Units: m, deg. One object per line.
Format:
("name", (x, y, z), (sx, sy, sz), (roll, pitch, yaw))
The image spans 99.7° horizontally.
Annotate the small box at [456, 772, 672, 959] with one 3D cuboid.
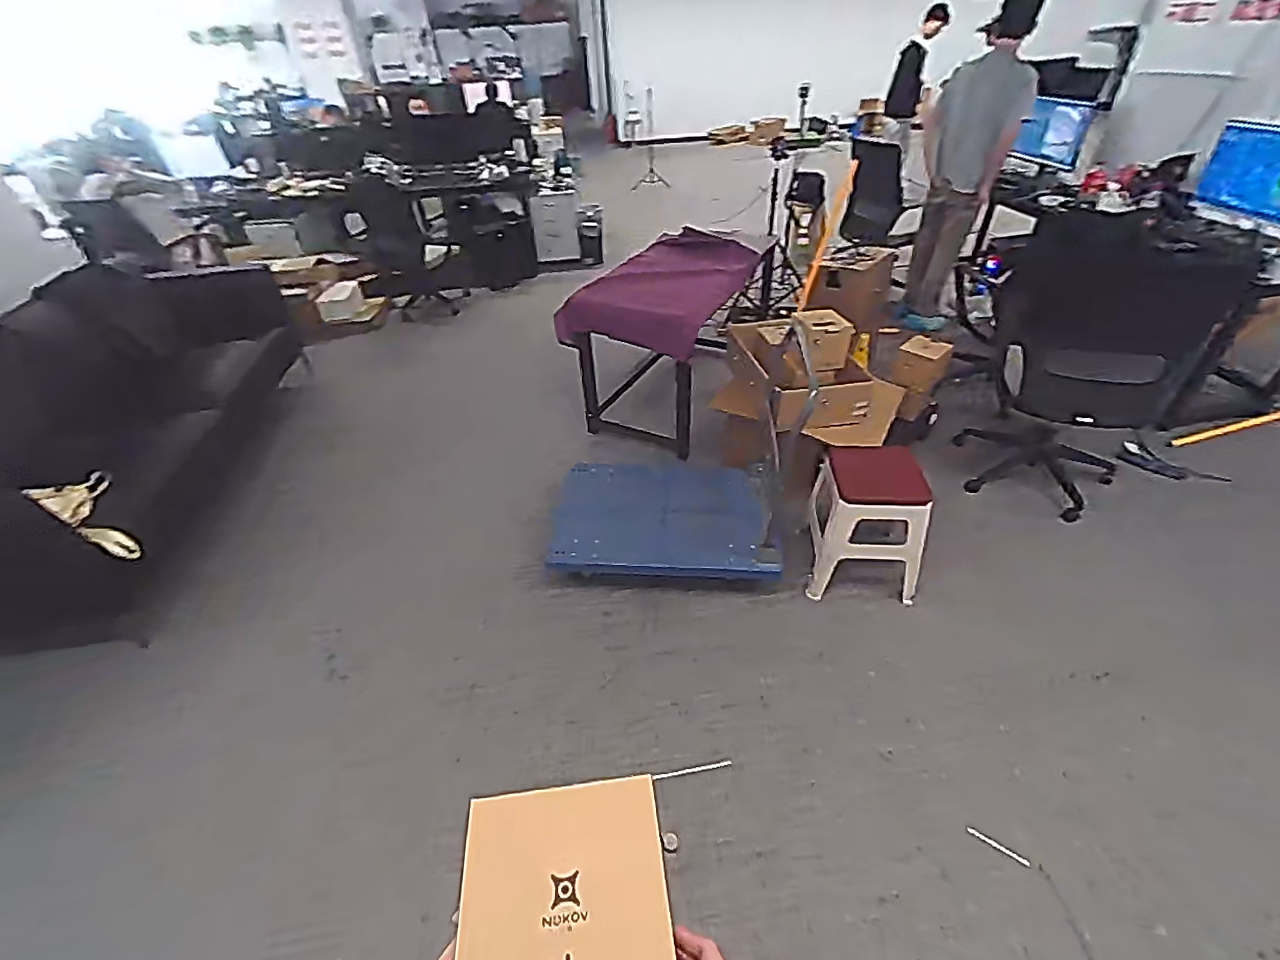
("small box", (-0.060, 0.397, 0.491), (0.168, 0.176, 0.179), (-5, 41, -3))
